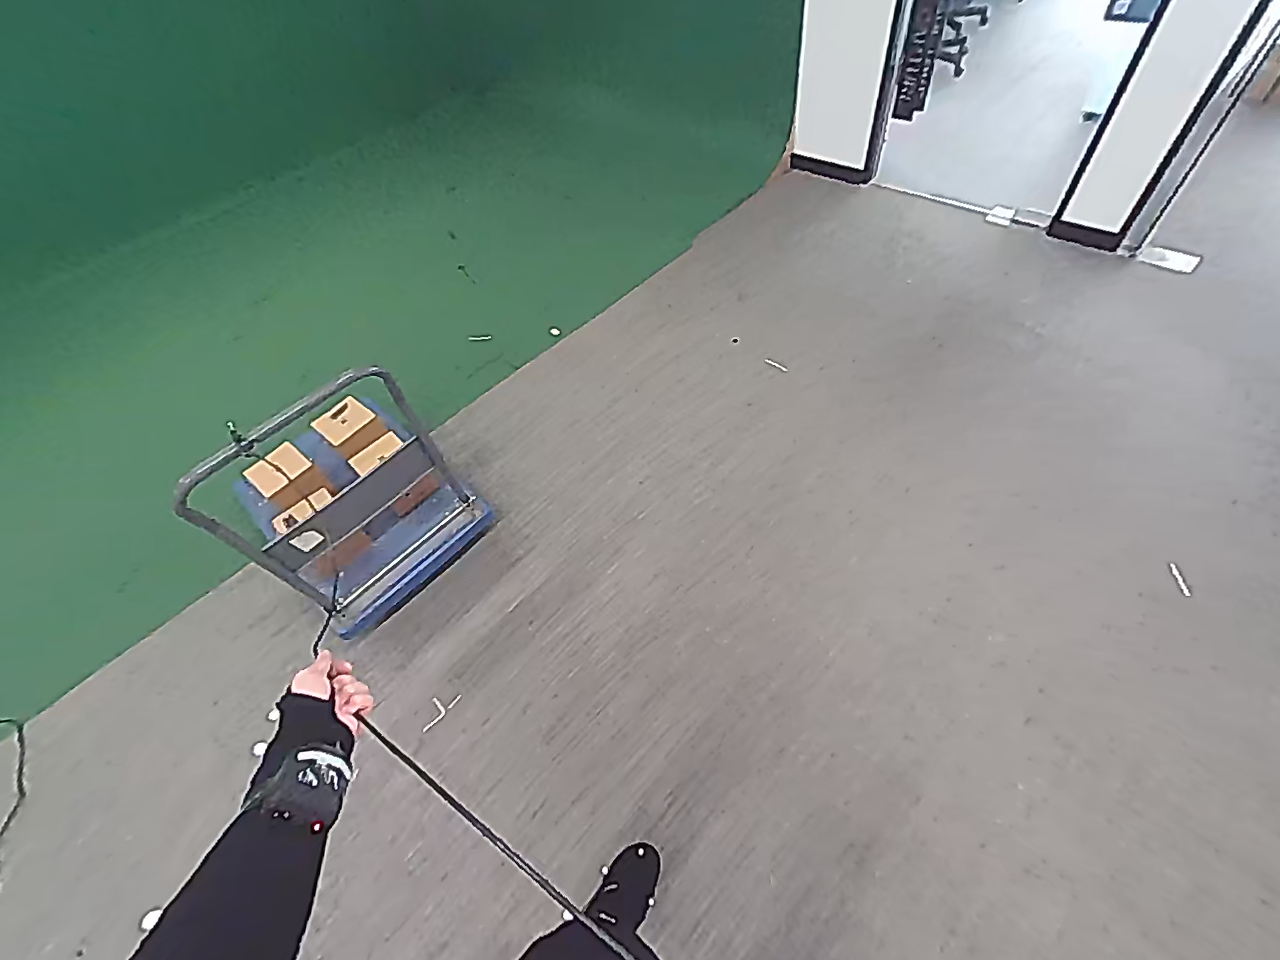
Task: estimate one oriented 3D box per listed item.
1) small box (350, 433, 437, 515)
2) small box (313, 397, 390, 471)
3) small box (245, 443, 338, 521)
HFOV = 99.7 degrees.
[{"bbox_3d":[-0.807,-0.016,1.782,0.179,0.176,0.168,37,67,28],"label":"small box"},{"bbox_3d":[-1.001,-0.154,1.911,0.179,0.176,0.168,32,65,26],"label":"small box"},{"bbox_3d":[-1.160,0.015,1.813,0.179,0.176,0.168,32,64,27],"label":"small box"}]
